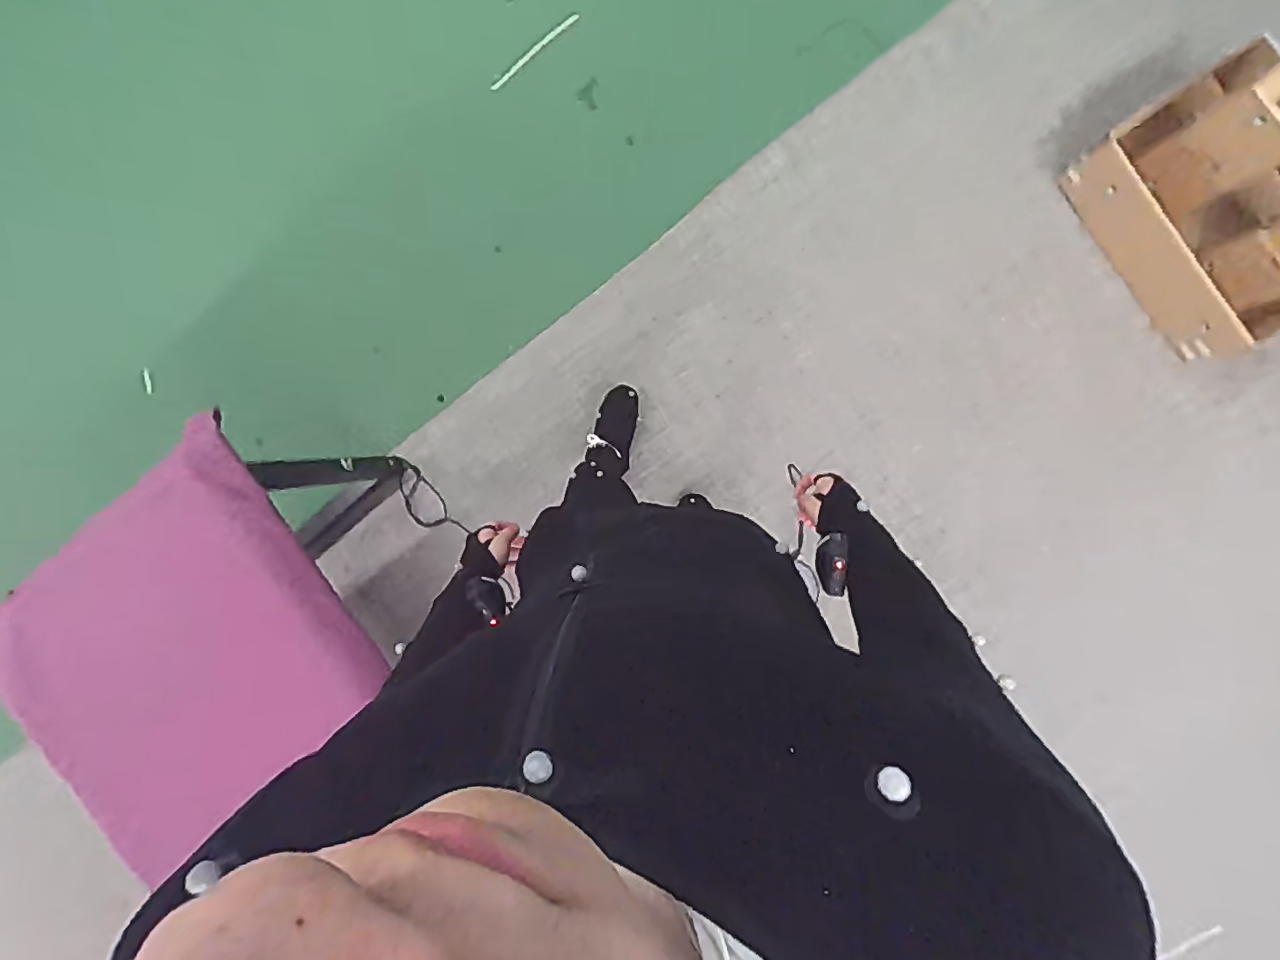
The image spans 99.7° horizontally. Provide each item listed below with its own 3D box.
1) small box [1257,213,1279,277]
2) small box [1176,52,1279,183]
[{"bbox_3d":[1.499,-0.541,1.137,0.179,0.176,0.168,-31,91,8],"label":"small box"},{"bbox_3d":[1.316,-0.779,1.138,0.179,0.176,0.168,-38,89,6],"label":"small box"}]
